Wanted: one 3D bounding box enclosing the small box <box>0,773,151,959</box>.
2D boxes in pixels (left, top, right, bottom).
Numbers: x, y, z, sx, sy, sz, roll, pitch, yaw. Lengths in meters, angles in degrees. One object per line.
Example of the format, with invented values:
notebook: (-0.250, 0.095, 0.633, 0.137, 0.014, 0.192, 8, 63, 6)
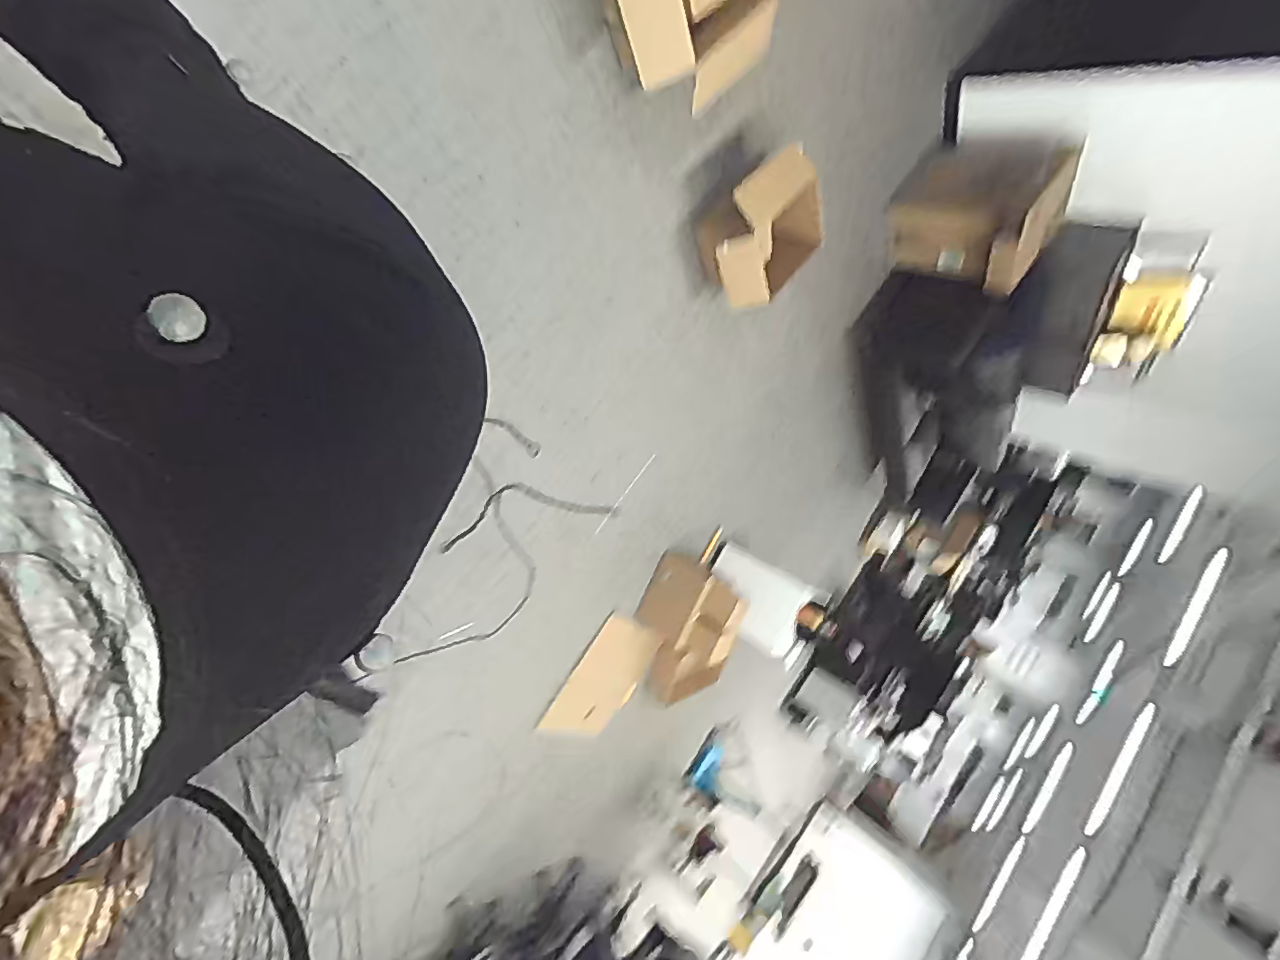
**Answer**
small box: (-0.726, 0.479, 0.625, 0.179, 0.176, 0.168, -54, 142, -11)
